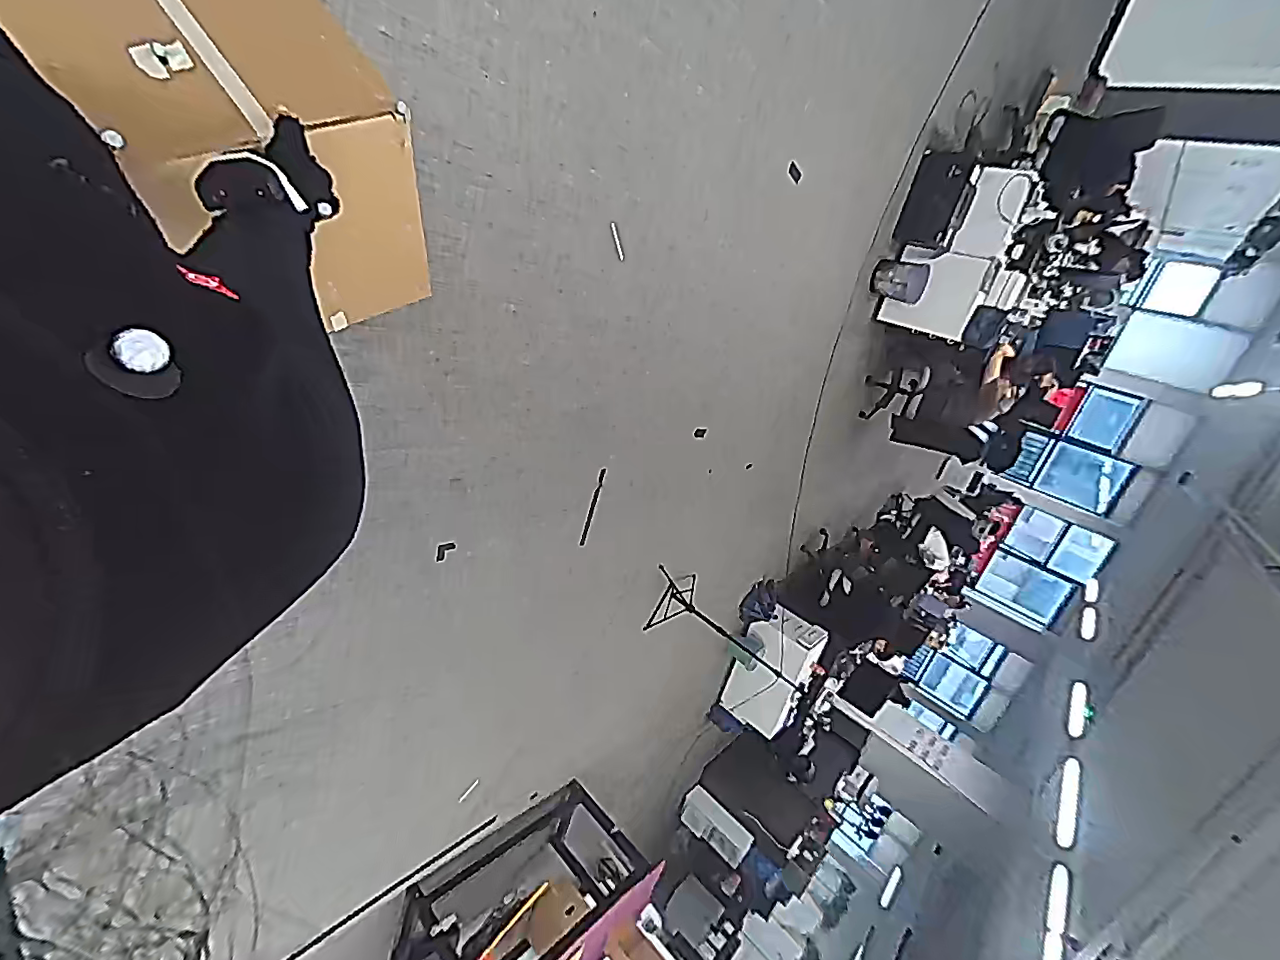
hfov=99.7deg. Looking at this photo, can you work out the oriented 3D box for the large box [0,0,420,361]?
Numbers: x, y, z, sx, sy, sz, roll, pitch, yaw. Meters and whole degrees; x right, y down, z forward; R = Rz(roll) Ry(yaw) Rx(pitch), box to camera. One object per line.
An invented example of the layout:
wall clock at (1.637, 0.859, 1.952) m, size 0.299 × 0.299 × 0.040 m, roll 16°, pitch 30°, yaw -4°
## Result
large box at (-0.559, -0.450, 0.743) m, size 0.320 × 0.408 × 0.320 m, roll -33°, pitch 170°, yaw -26°
